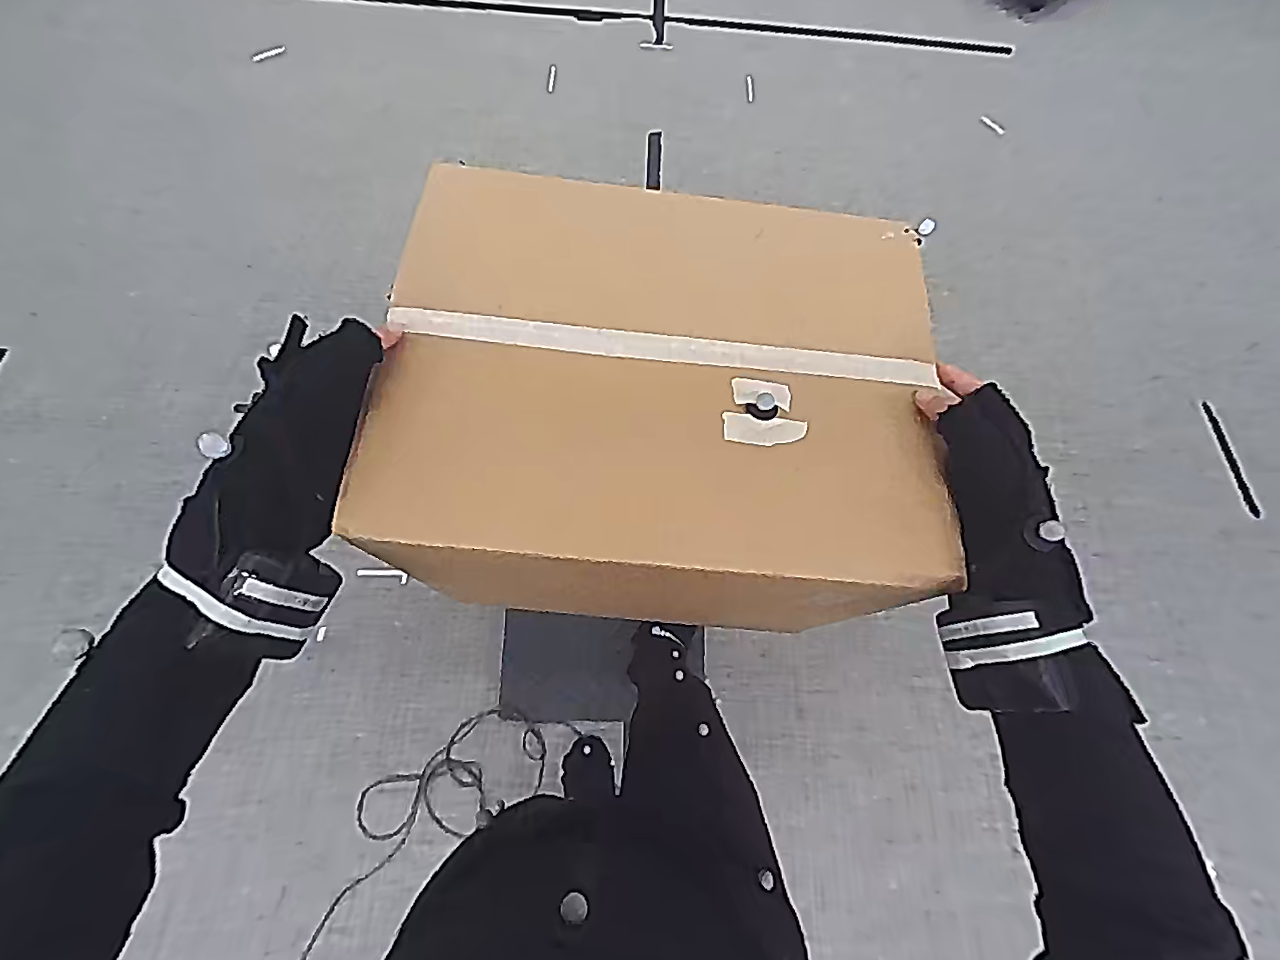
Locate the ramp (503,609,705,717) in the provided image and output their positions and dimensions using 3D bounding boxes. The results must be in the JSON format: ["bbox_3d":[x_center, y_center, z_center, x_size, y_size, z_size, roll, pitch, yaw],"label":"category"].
[{"bbox_3d":[-0.073,0.080,1.402,0.509,0.206,0.991,1,68,-5],"label":"ramp"}]

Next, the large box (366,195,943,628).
[{"bbox_3d":[0.010,-0.033,0.556,0.408,0.320,0.320,6,69,-3],"label":"large box"}]
